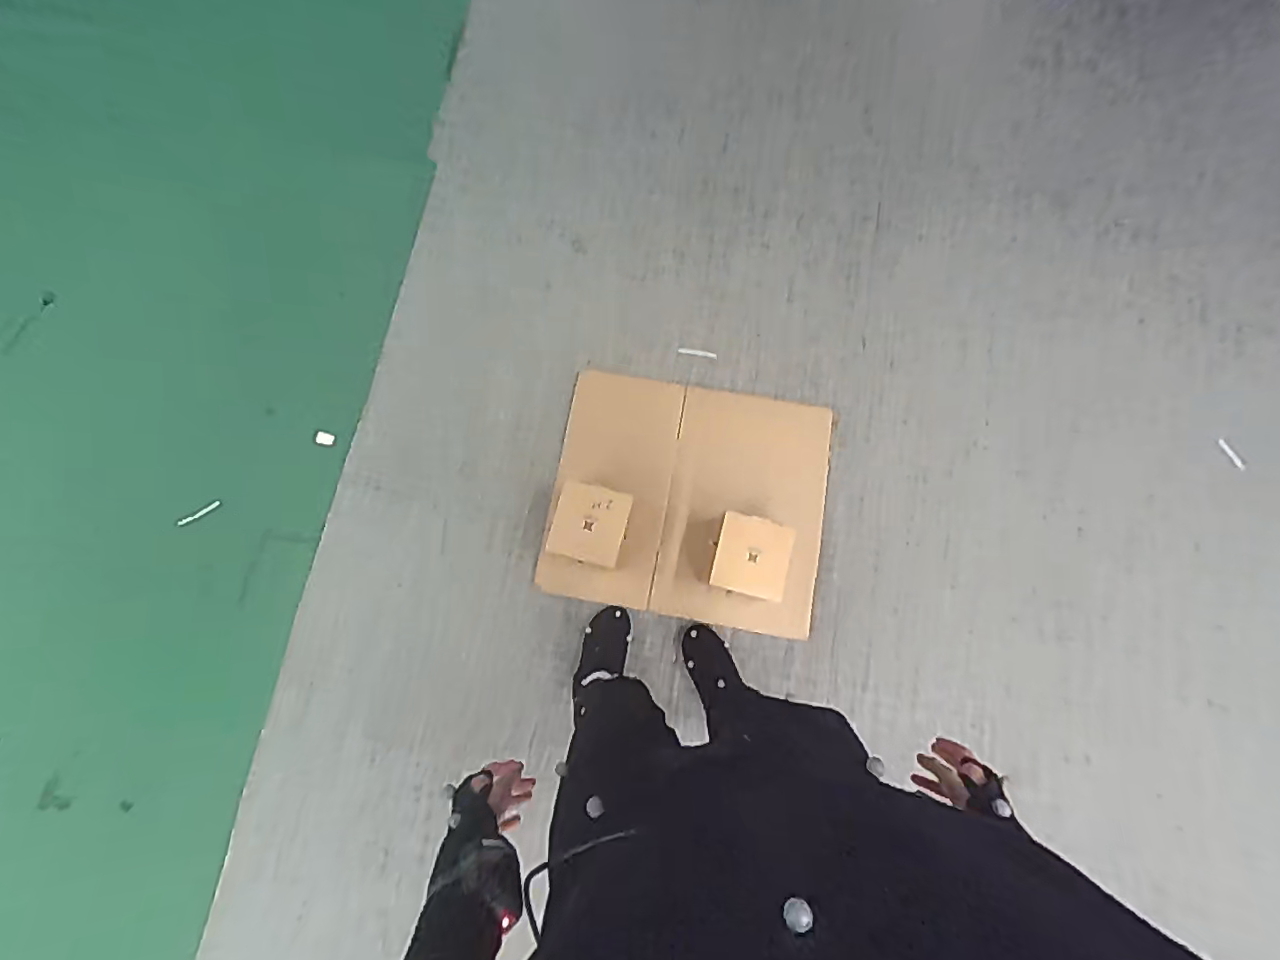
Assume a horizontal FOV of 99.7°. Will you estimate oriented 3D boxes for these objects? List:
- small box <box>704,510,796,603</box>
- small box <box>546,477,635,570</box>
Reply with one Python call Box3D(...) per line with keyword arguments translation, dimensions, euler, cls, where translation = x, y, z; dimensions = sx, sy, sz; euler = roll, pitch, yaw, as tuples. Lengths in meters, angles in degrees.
Box3D(translation=(0.252, 0.185, 1.278), dimensions=(0.168, 0.176, 0.179), euler=(15, 78, 3), cls="small box")
Box3D(translation=(-0.110, 0.111, 1.300), dimensions=(0.168, 0.176, 0.179), euler=(16, 79, 4), cls="small box")
